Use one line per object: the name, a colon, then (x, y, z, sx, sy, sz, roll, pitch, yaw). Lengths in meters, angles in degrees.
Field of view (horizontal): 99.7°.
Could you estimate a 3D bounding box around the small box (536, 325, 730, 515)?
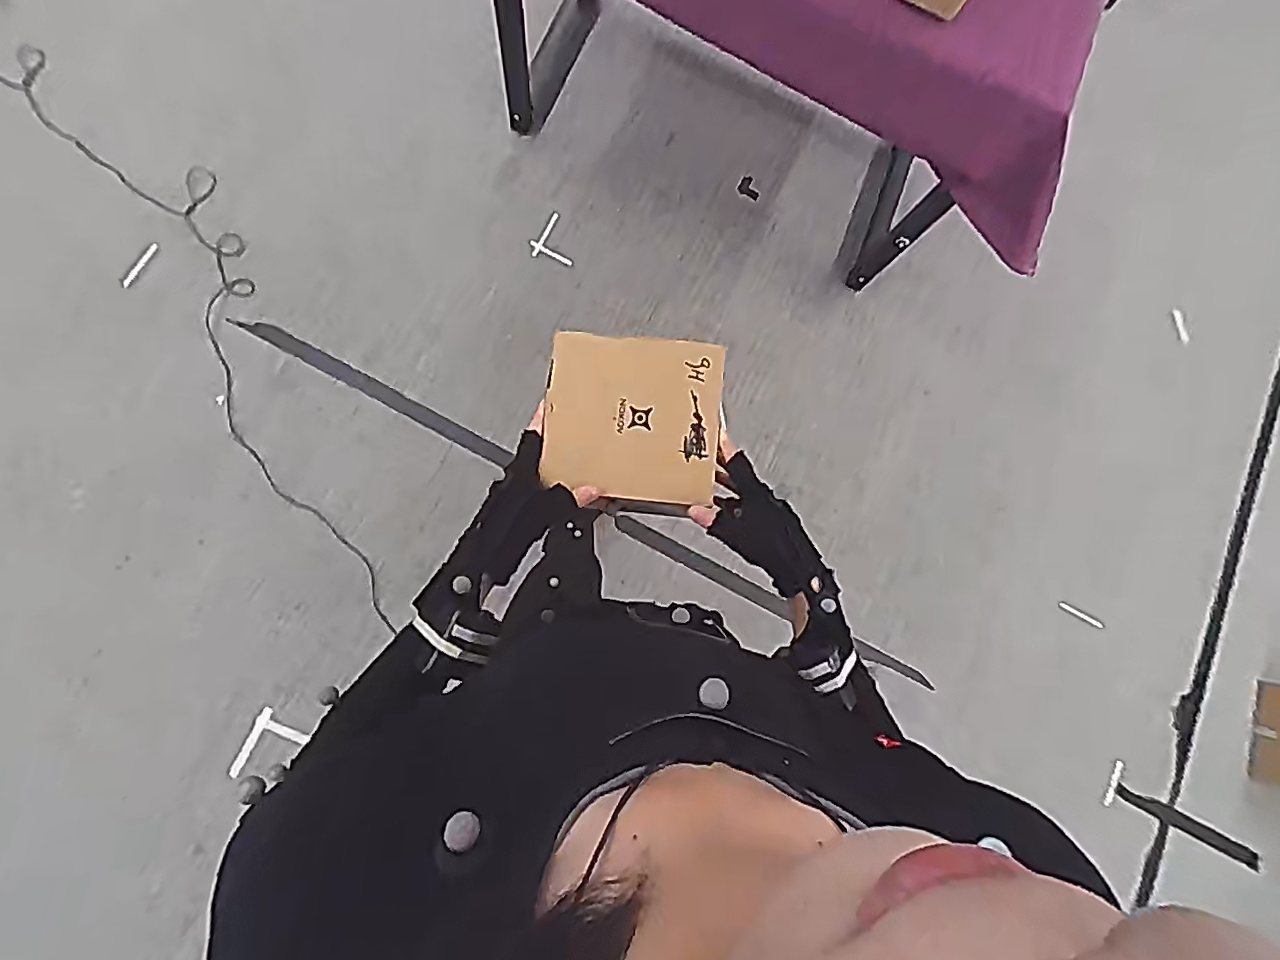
small box: (-0.003, -0.055, 0.606, 0.179, 0.176, 0.168, 6, 81, 2)
